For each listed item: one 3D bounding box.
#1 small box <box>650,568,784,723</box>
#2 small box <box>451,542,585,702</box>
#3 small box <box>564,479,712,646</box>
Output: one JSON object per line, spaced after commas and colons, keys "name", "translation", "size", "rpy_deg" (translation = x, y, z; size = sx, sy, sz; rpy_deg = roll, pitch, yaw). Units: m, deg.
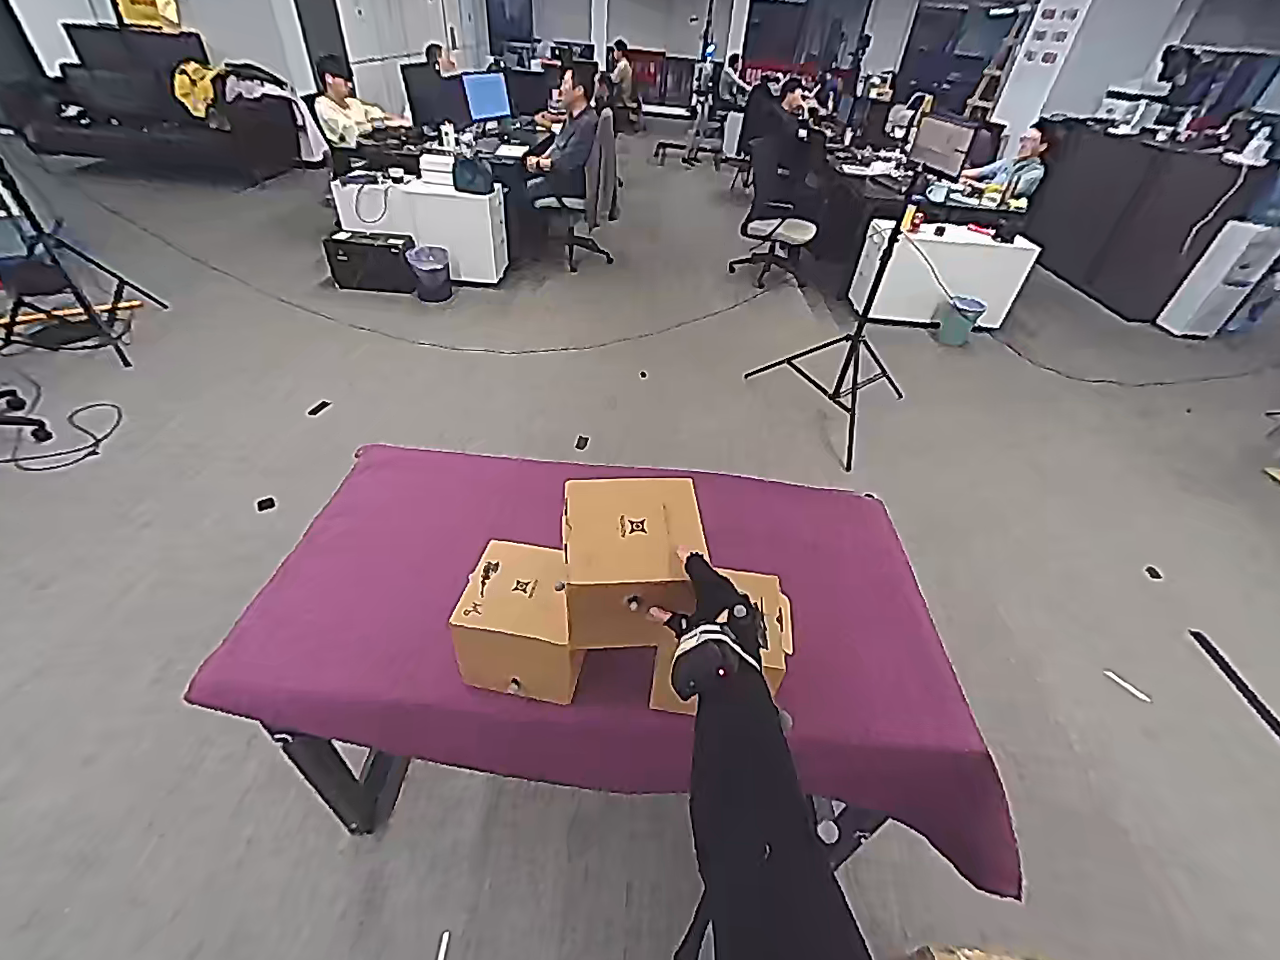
{"name": "small box", "translation": [0.117, 0.258, 0.851], "size": [0.179, 0.176, 0.168], "rpy_deg": [7, 39, 4]}
{"name": "small box", "translation": [-0.173, 0.227, 0.856], "size": [0.179, 0.176, 0.168], "rpy_deg": [10, 39, 4]}
{"name": "small box", "translation": [-0.013, 0.116, 0.744], "size": [0.179, 0.176, 0.168], "rpy_deg": [-1, 47, -8]}
